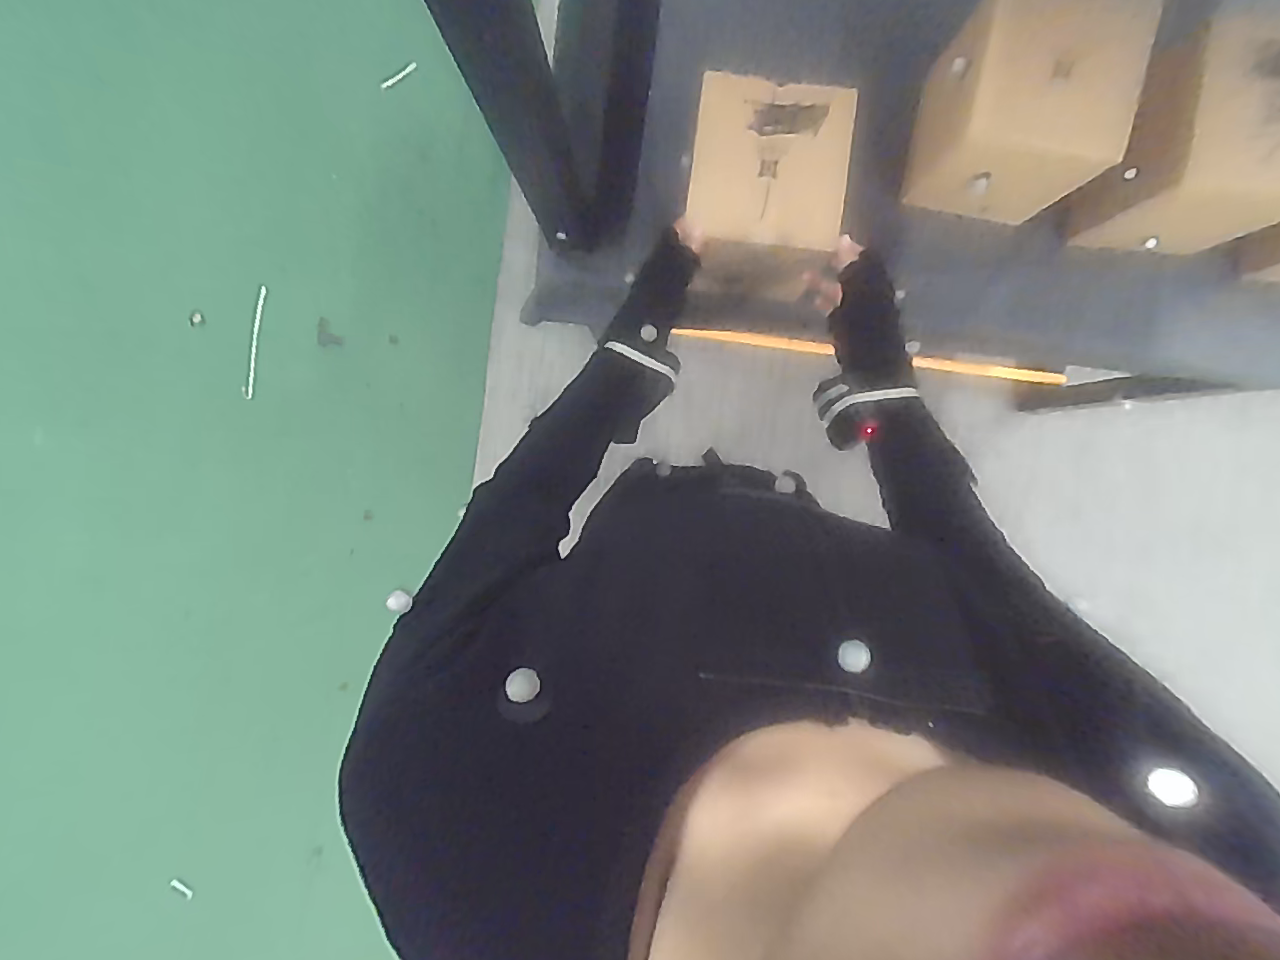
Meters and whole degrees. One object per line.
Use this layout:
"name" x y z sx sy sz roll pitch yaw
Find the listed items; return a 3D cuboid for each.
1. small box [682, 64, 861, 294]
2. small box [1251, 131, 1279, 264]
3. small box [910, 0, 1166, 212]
"small box" 0.144 -0.344 0.650 0.168 0.176 0.179 7 92 1
"small box" 0.885 -0.353 0.625 0.168 0.176 0.179 6 93 1
"small box" 0.447 -0.447 0.639 0.168 0.176 0.179 12 93 1
